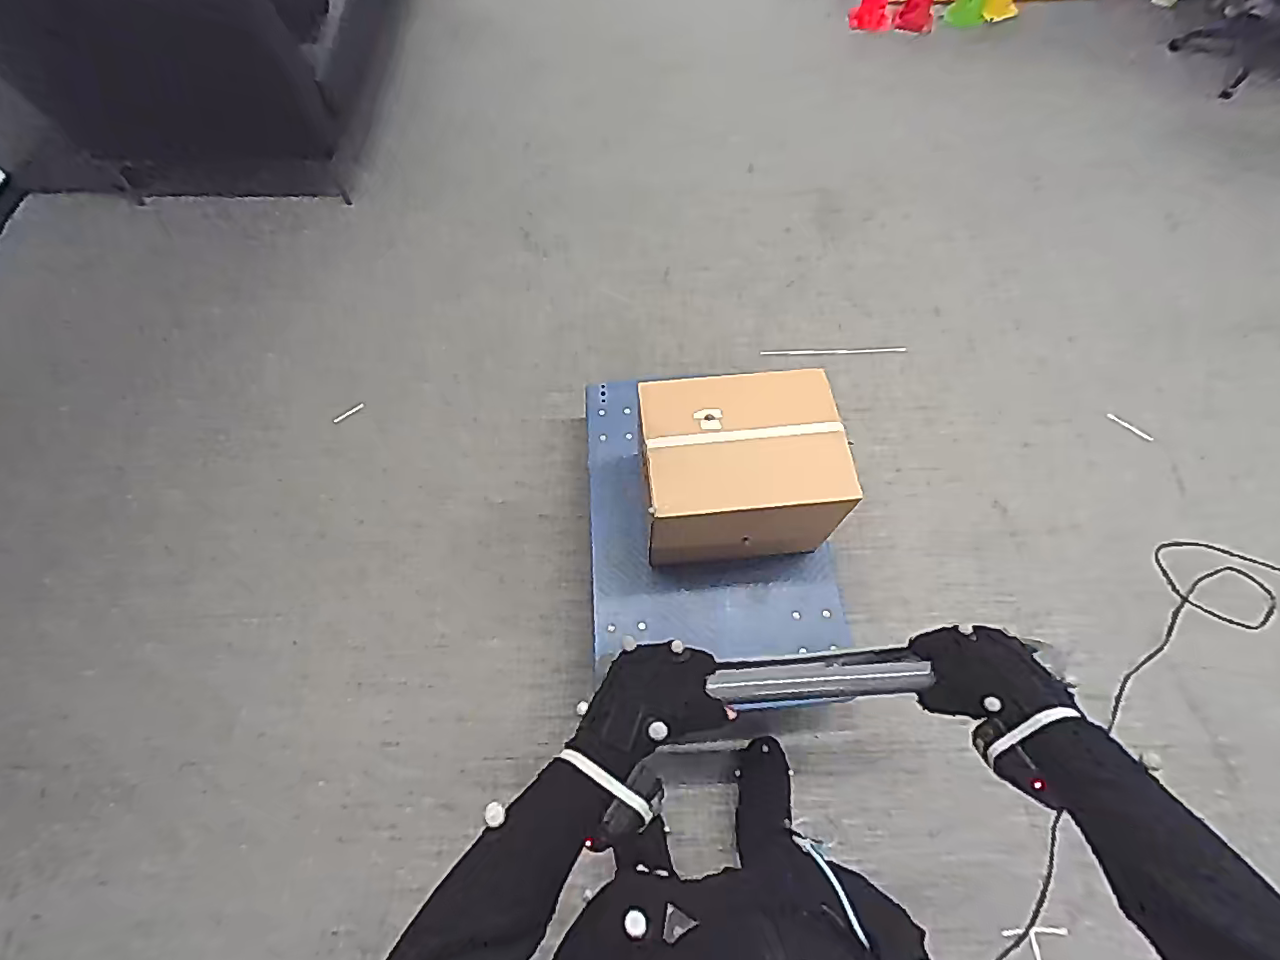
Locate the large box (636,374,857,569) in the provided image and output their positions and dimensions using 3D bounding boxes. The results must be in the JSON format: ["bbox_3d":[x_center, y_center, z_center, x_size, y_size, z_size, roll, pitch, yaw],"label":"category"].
[{"bbox_3d":[0.211,-0.007,1.238,0.408,0.320,0.320,-7,64,-2],"label":"large box"}]
